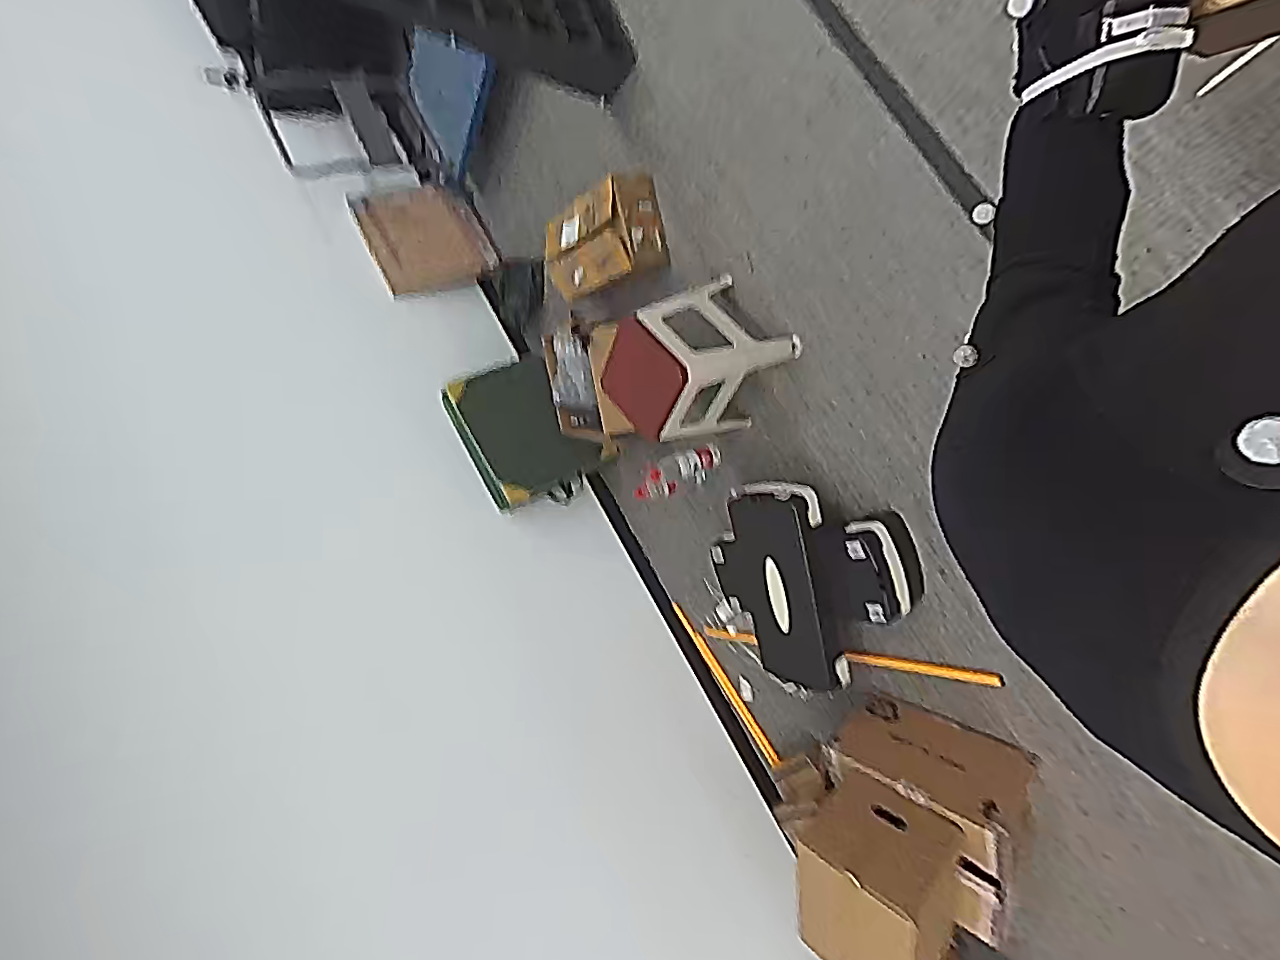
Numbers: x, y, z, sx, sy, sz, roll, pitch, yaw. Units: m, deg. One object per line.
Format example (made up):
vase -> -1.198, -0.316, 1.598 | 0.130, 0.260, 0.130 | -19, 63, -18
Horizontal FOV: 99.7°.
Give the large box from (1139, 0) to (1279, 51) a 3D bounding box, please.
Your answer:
large box -> 0.536, -0.469, 0.244 | 0.408, 0.320, 0.320 | 14, 124, 48
